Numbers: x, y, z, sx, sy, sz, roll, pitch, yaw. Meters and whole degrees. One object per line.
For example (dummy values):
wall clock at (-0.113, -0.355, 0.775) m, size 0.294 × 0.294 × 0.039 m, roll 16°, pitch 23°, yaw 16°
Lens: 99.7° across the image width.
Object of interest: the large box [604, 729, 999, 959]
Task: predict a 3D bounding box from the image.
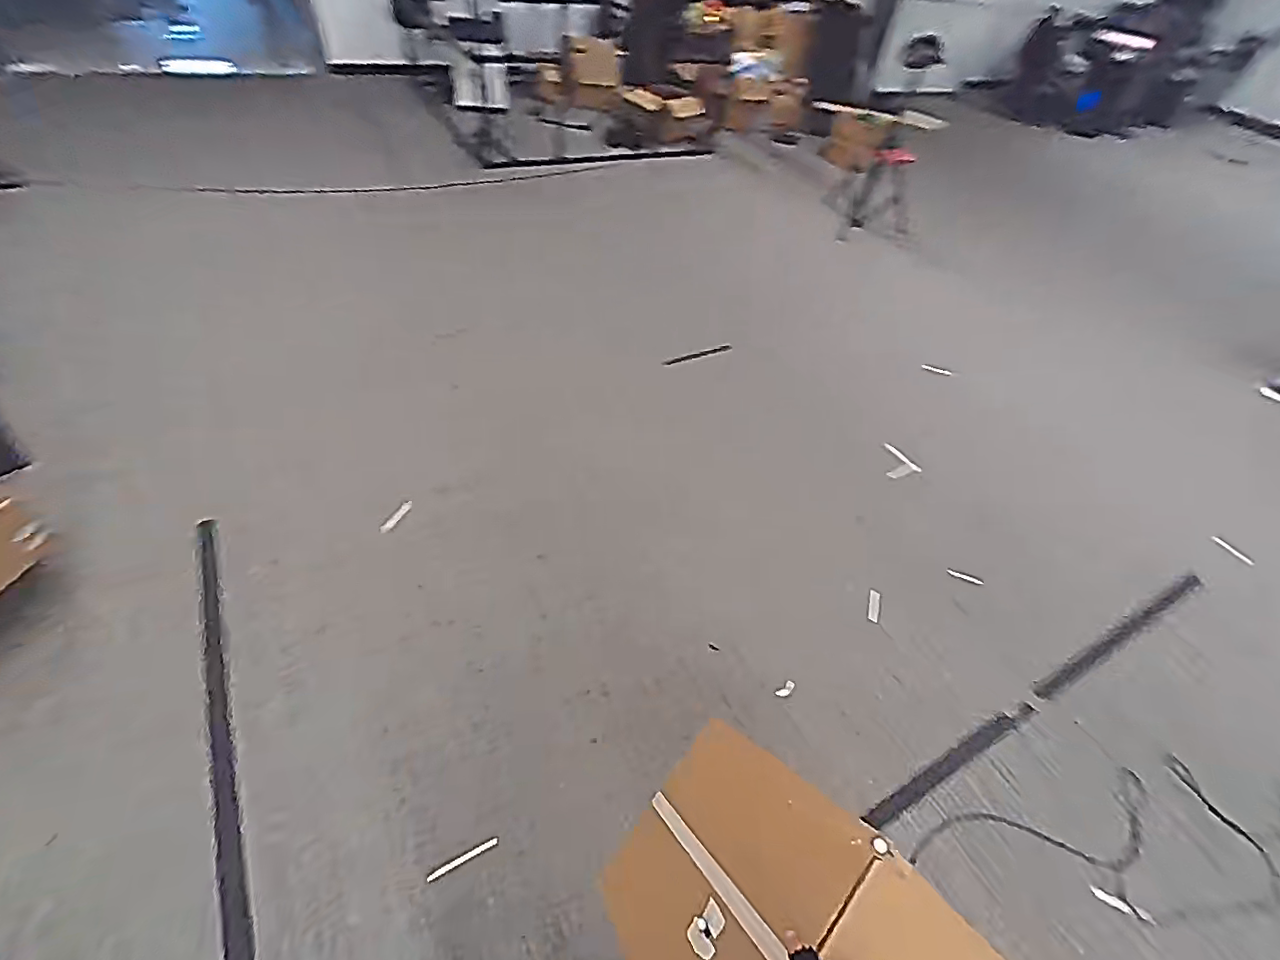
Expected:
large box at (0.206, 0.617, 0.722) m, size 0.320 × 0.408 × 0.320 m, roll 47°, pitch 73°, yaw -9°
